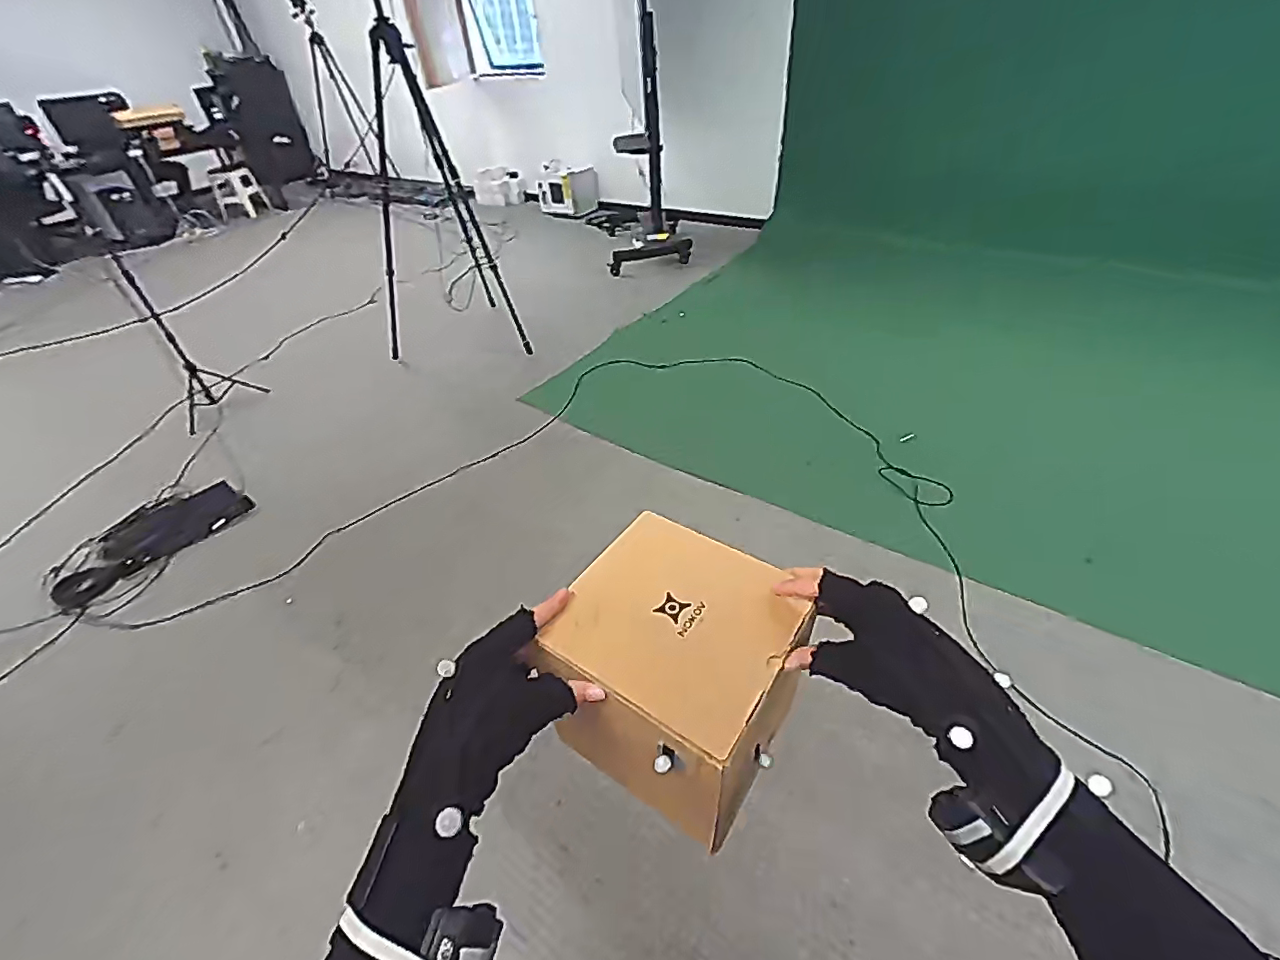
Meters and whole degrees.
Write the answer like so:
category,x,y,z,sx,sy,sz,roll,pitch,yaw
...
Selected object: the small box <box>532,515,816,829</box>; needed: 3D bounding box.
category,x,y,z,sx,sy,sz,roll,pitch,yaw
small box,0.031,0.167,0.485,0.179,0.176,0.168,24,46,28
